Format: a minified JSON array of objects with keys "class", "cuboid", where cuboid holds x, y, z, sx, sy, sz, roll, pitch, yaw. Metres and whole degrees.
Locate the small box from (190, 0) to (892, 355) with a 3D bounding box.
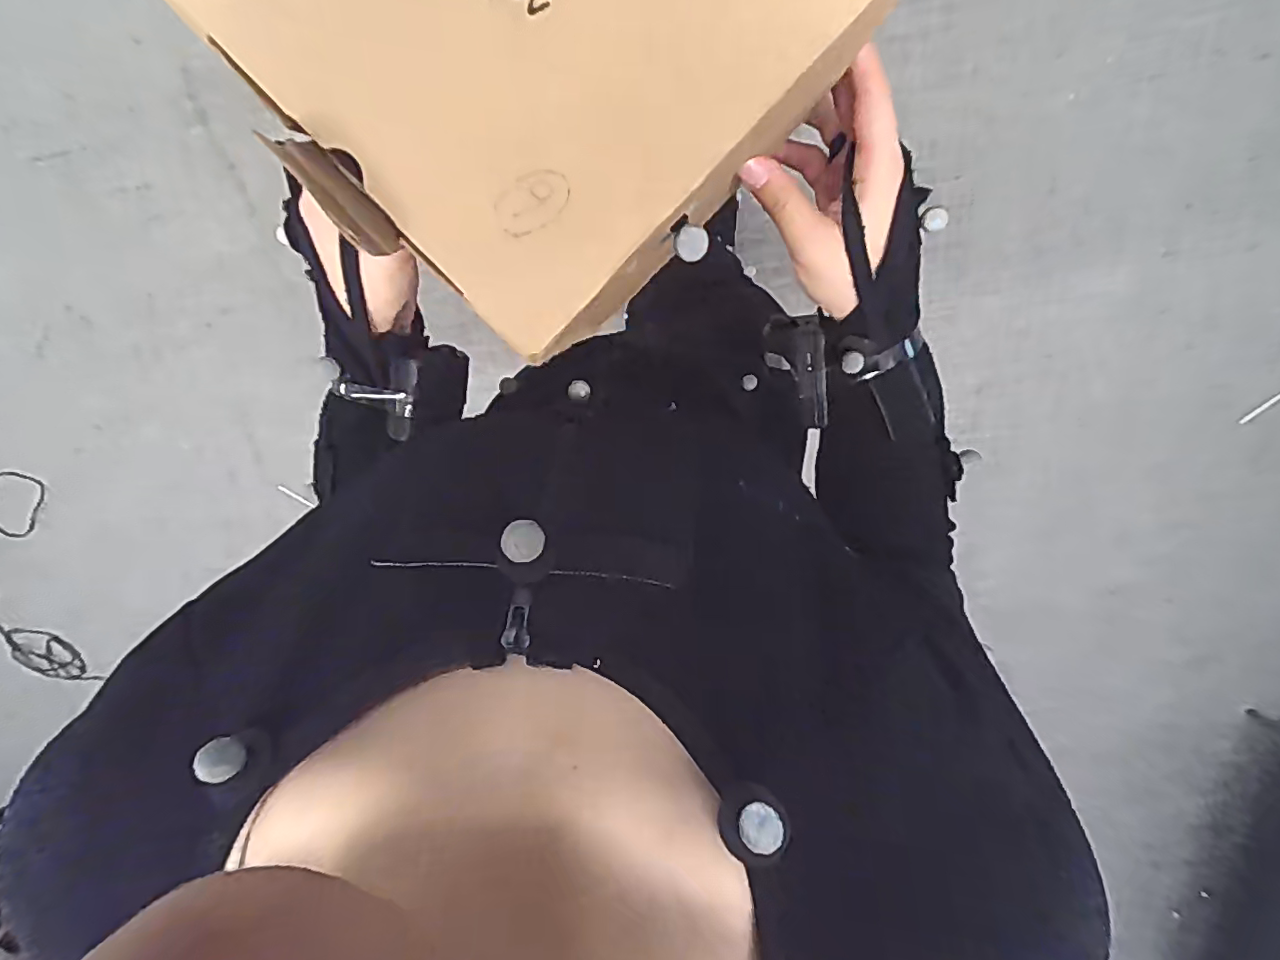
[{"class":"small box","cuboid":[-0.024,-0.182,0.239,0.179,0.176,0.168,-42,102,16]}]
